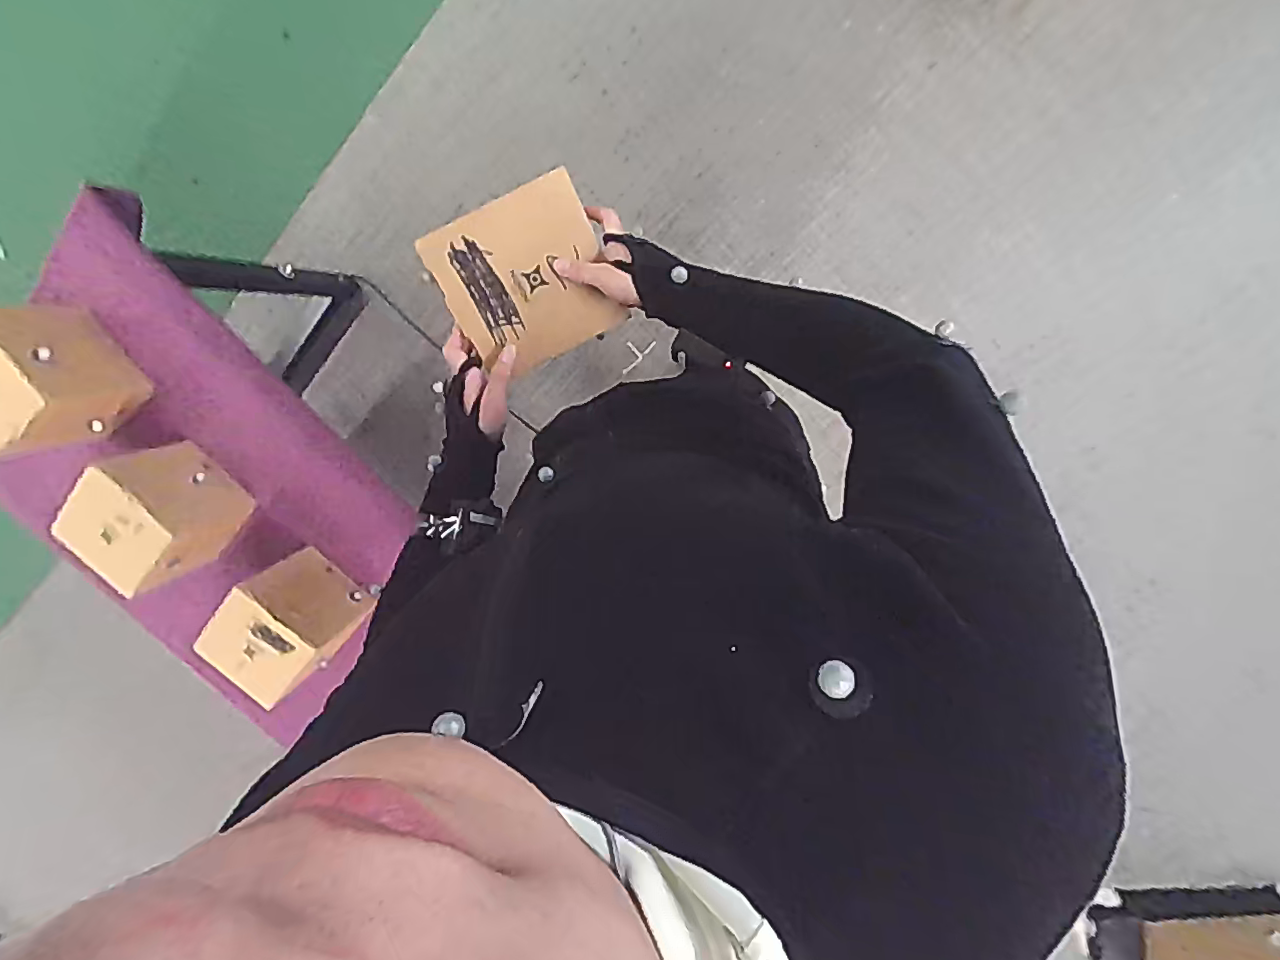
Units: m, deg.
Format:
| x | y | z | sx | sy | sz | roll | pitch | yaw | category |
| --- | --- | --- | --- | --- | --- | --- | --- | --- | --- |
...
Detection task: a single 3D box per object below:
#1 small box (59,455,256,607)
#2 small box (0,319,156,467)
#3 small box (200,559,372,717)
| x | y | z | sx | sy | sz | roll | pitch | yaw | category |
| --- | --- | --- | --- | --- | --- | --- | --- | --- | --- |
| -0.835 | 0.082 | 0.953 | 0.168 | 0.176 | 0.179 | 45 | 107 | -6 | small box |
| -0.996 | -0.150 | 0.913 | 0.168 | 0.176 | 0.179 | -32 | 100 | 16 | small box |
| -0.621 | 0.274 | 0.974 | 0.168 | 0.176 | 0.179 | 43 | 108 | -4 | small box |
